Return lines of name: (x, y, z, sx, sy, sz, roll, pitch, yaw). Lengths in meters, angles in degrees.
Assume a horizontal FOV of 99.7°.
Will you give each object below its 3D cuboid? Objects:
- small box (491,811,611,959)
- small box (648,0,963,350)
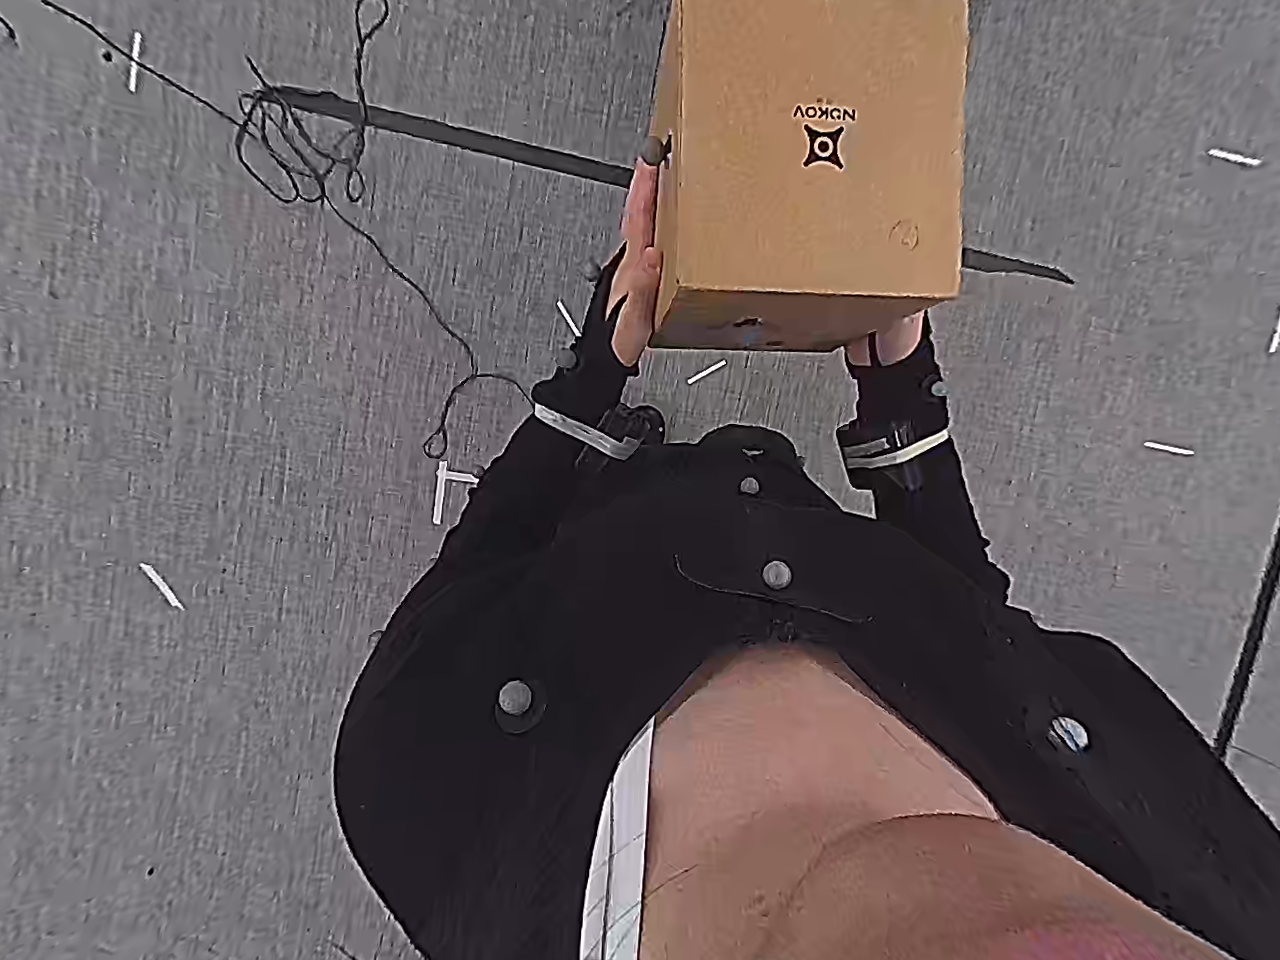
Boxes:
small box: (-0.132, 0.651, 0.843, 0.168, 0.176, 0.179, 2, 95, -2)
small box: (0.097, -0.196, 0.389, 0.168, 0.176, 0.179, 0, 91, -5)
